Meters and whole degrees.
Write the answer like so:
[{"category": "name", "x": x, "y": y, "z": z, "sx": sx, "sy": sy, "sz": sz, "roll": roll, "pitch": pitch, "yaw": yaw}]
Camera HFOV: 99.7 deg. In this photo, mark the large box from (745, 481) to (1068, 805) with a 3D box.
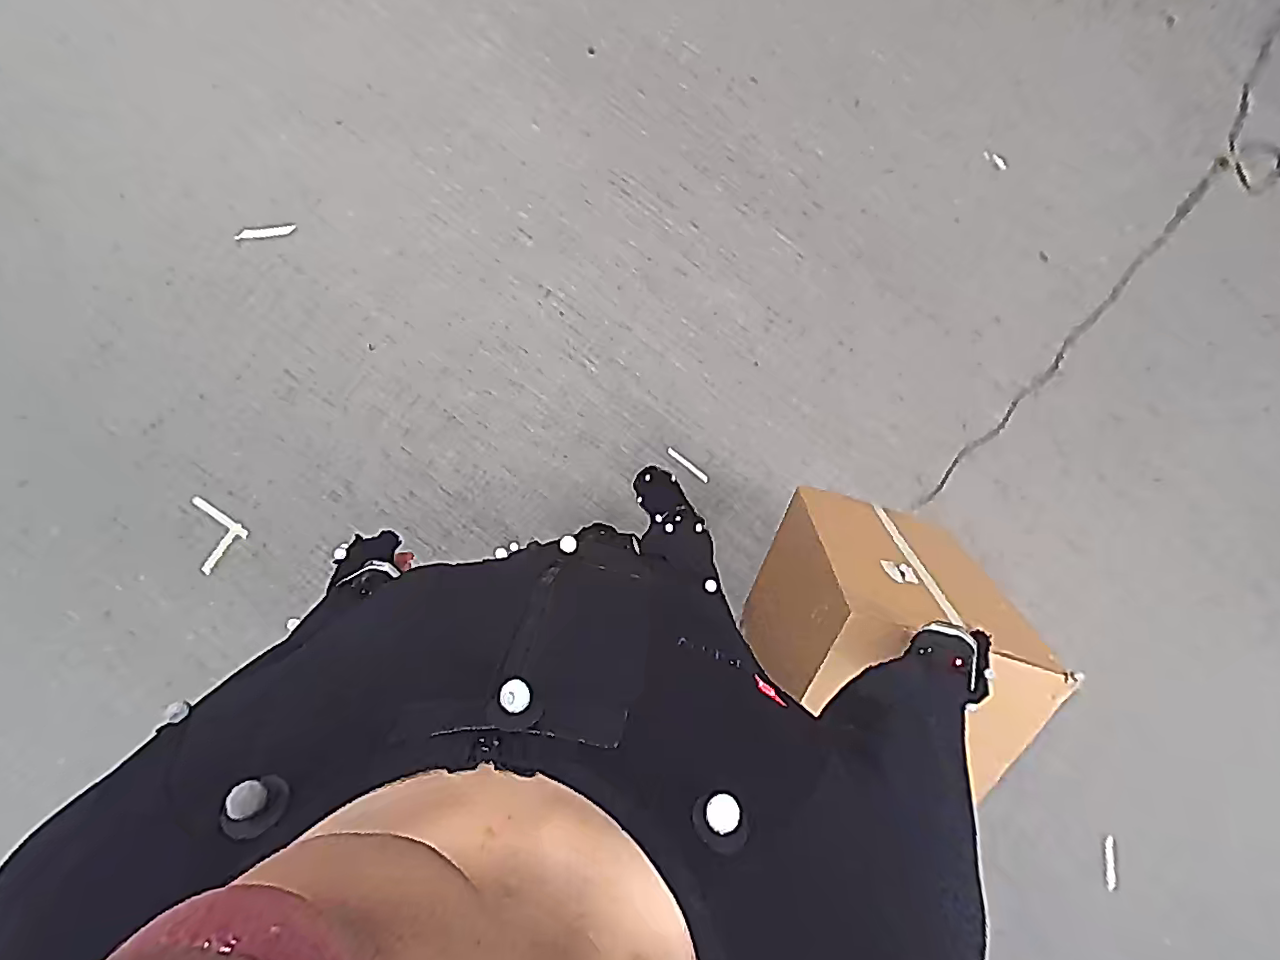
[{"category": "large box", "x": 0.397, "y": 0.255, "z": 0.949, "sx": 0.320, "sy": 0.408, "sz": 0.320, "roll": 16, "pitch": 115, "yaw": -2}]
